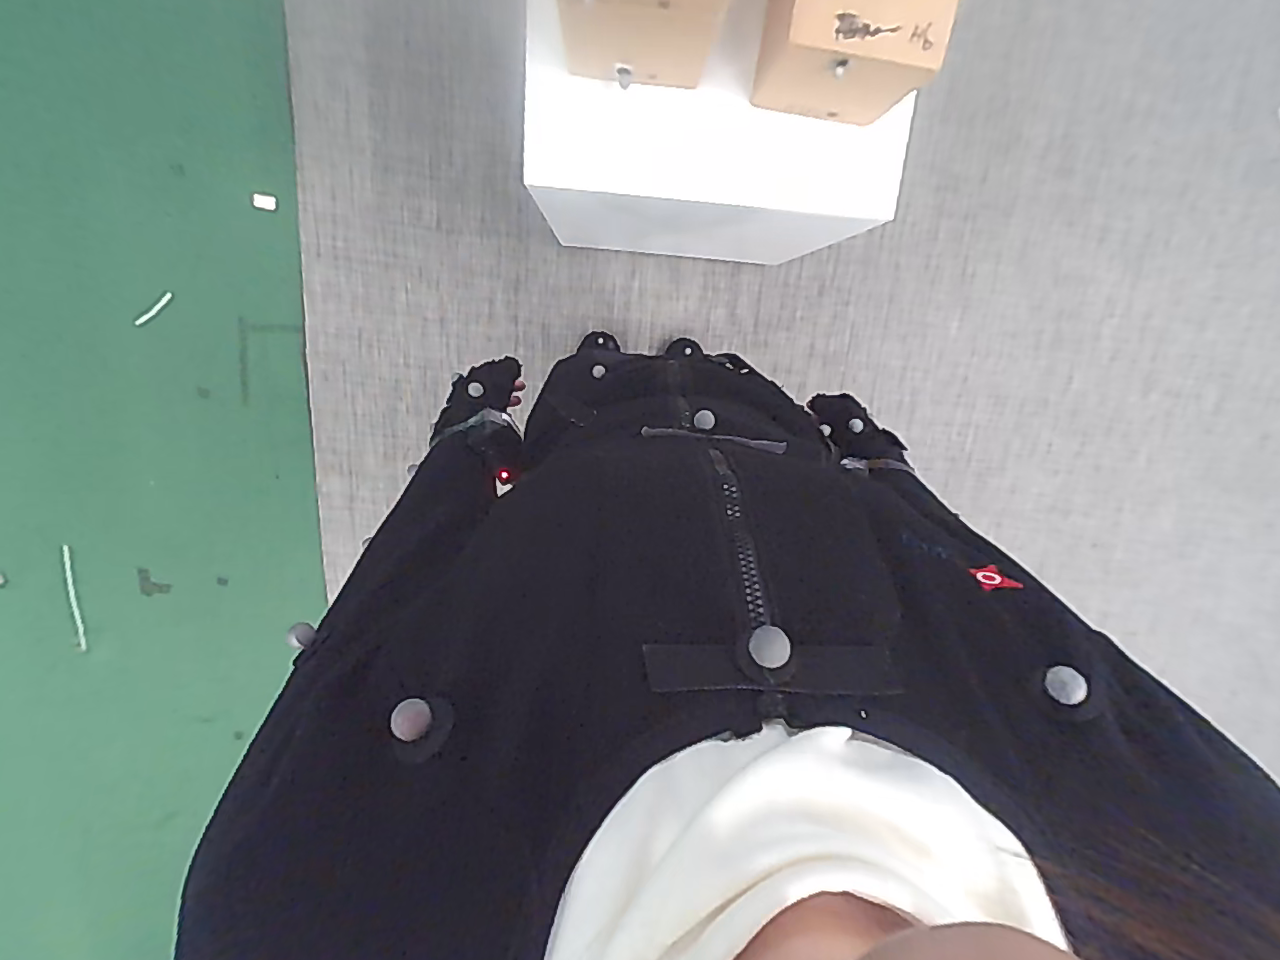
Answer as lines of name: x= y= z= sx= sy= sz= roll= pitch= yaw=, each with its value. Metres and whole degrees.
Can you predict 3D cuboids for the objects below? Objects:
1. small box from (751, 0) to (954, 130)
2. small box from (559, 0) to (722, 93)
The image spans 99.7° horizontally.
small box: x=0.236 y=-0.537 z=0.613 sx=0.168 sy=0.176 sz=0.179 roll=8 pitch=105 yaw=-5
small box: x=0.002 y=-0.568 z=0.597 sx=0.168 sy=0.176 sz=0.179 roll=2 pitch=107 yaw=-2
